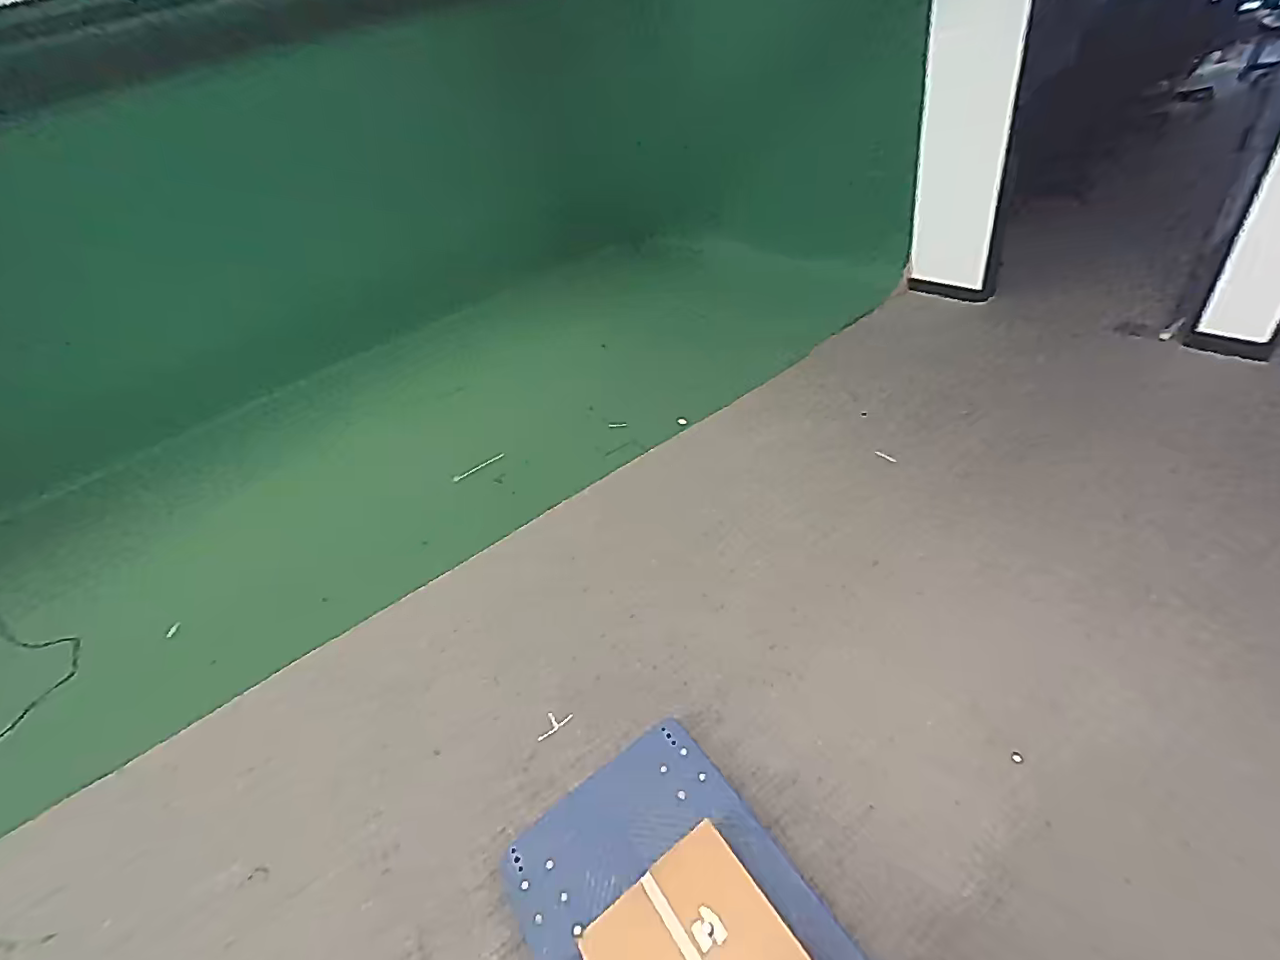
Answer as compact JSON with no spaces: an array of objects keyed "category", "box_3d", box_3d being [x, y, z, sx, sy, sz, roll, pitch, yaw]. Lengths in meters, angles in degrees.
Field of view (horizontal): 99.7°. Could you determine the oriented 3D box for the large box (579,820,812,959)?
[{"category":"large box","box_3d":[0.154,0.944,0.978,0.320,0.320,0.408,-32,40,-18]}]
